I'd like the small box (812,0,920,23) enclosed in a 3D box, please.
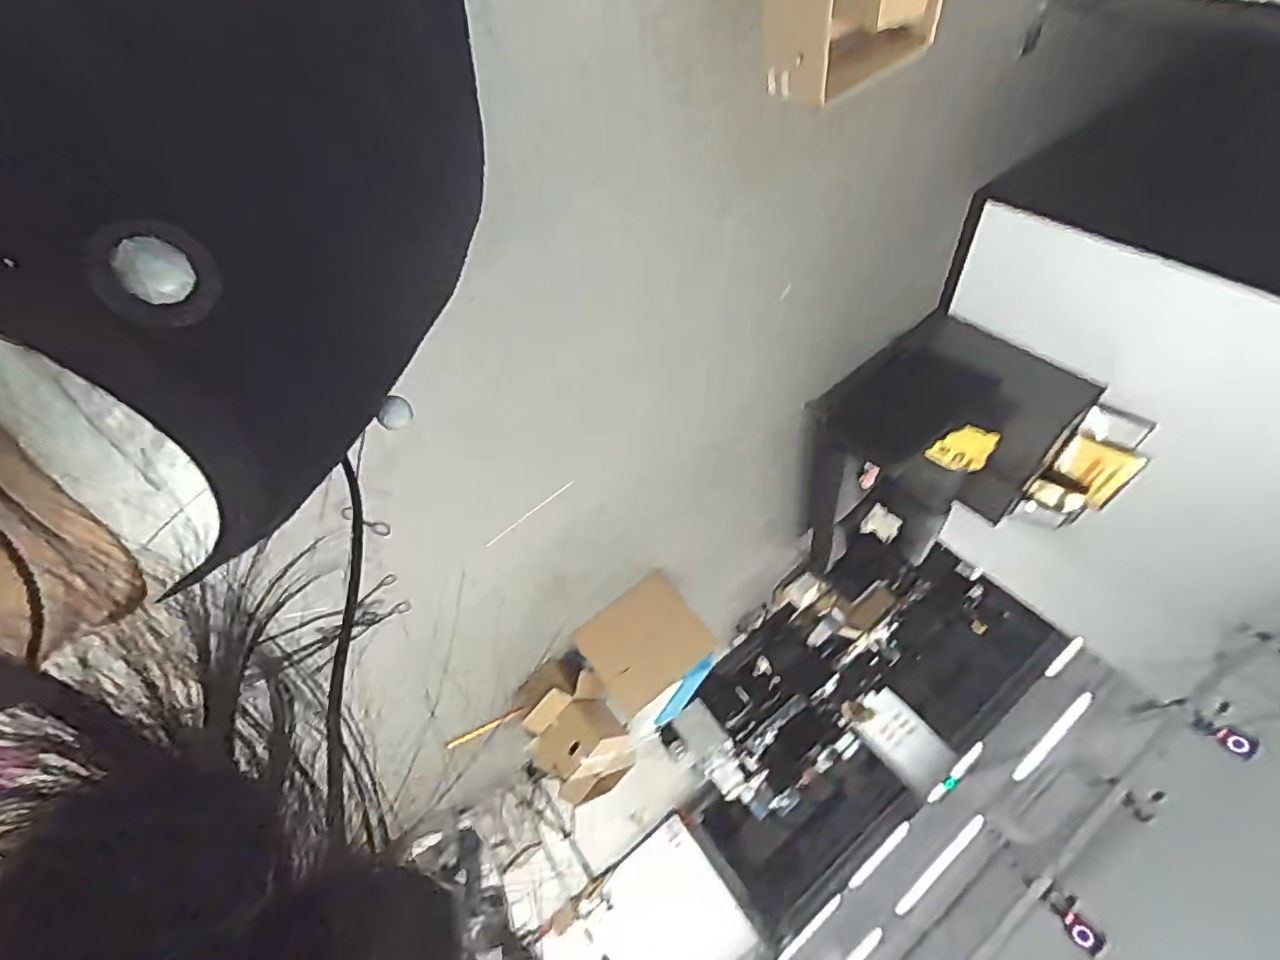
[{"bbox_3d":[0.501,-1.109,1.163,0.179,0.176,0.168,-30,145,-22],"label":"small box"}]
